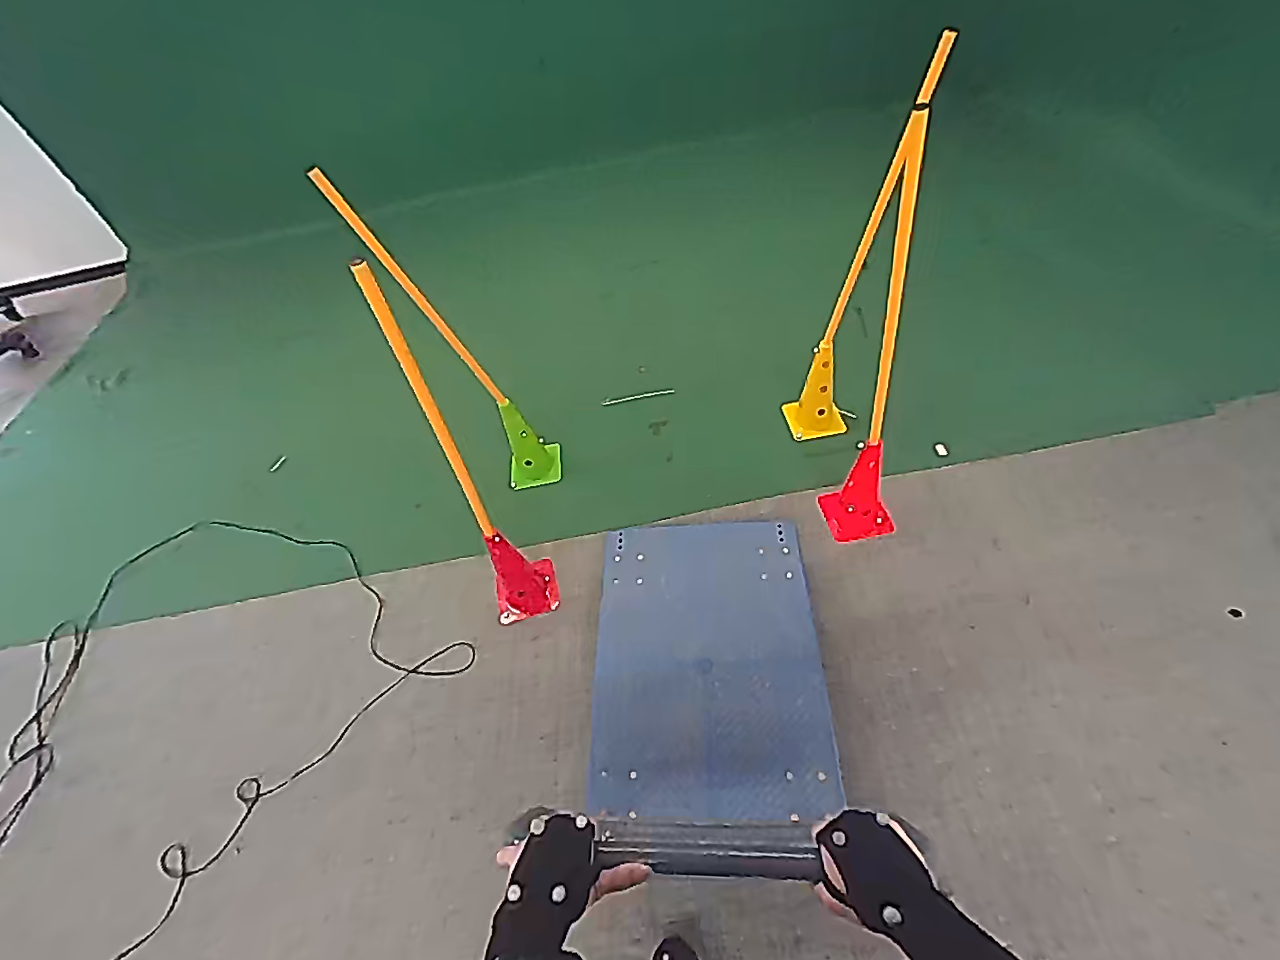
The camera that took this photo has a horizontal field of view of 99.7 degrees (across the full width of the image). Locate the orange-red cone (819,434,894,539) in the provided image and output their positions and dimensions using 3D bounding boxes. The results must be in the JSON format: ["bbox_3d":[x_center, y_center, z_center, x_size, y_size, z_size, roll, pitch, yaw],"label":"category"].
[{"bbox_3d":[0.684,-0.005,1.650,0.198,0.360,0.199,-10,49,1],"label":"orange-red cone"}]

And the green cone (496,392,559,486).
[{"bbox_3d":[-0.443,-0.174,1.992,0.200,0.368,0.202,-11,49,2],"label":"green cone"}]
